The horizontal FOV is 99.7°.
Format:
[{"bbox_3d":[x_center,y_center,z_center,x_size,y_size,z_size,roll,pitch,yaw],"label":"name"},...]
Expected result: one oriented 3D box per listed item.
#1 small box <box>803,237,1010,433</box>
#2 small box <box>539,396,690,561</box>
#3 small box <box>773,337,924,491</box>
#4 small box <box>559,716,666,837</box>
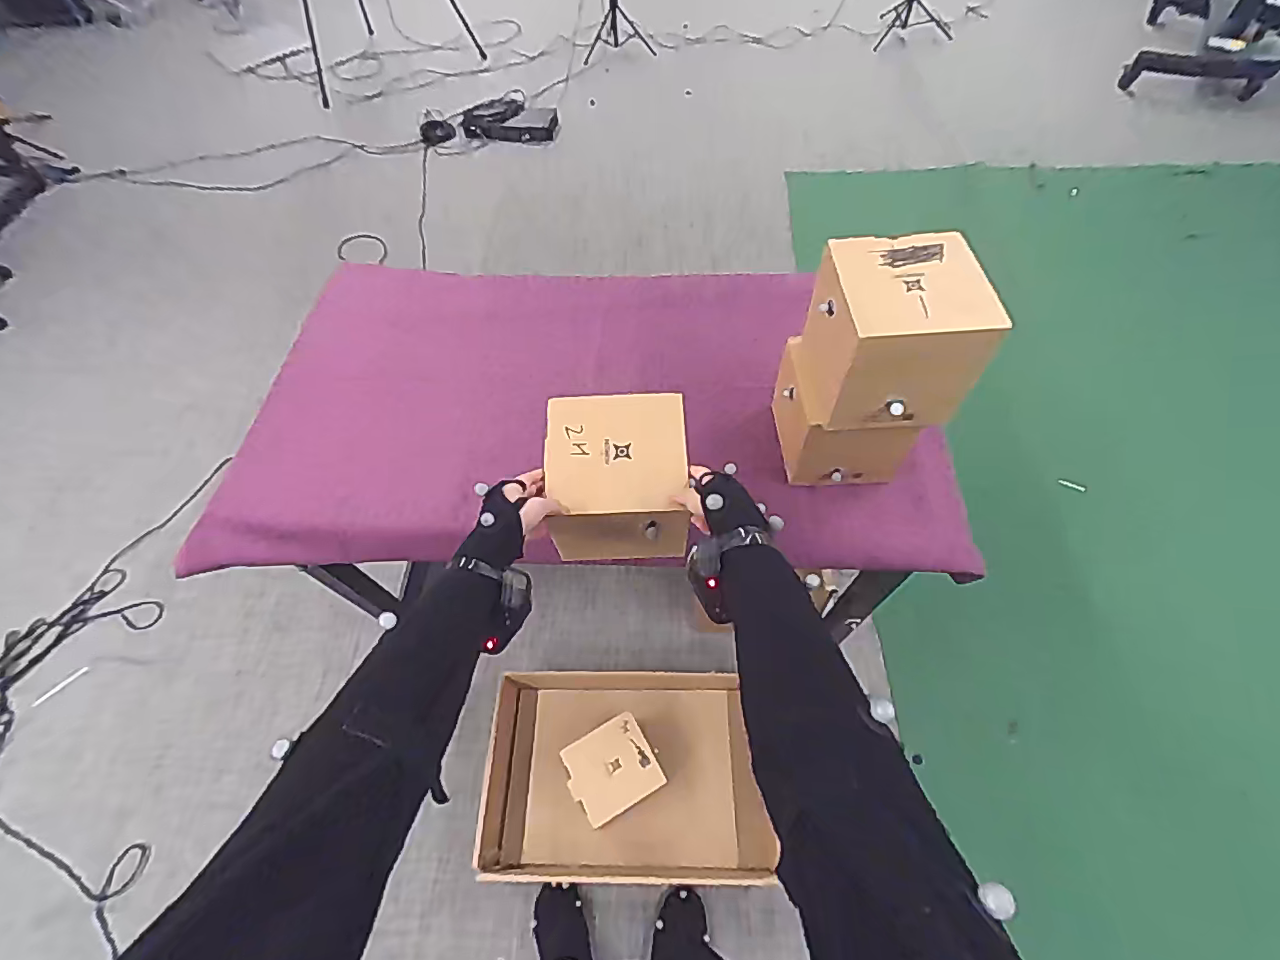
[{"bbox_3d":[0.317,-0.181,0.690,0.168,0.176,0.179,-3,57,3],"label":"small box"},{"bbox_3d":[-0.029,0.004,0.722,0.179,0.176,0.168,-3,63,1],"label":"small box"},{"bbox_3d":[0.308,-0.102,0.835,0.168,0.176,0.179,-3,57,2],"label":"small box"},{"bbox_3d":[-0.054,0.651,1.184,0.179,0.176,0.168,-27,60,-13],"label":"small box"}]
